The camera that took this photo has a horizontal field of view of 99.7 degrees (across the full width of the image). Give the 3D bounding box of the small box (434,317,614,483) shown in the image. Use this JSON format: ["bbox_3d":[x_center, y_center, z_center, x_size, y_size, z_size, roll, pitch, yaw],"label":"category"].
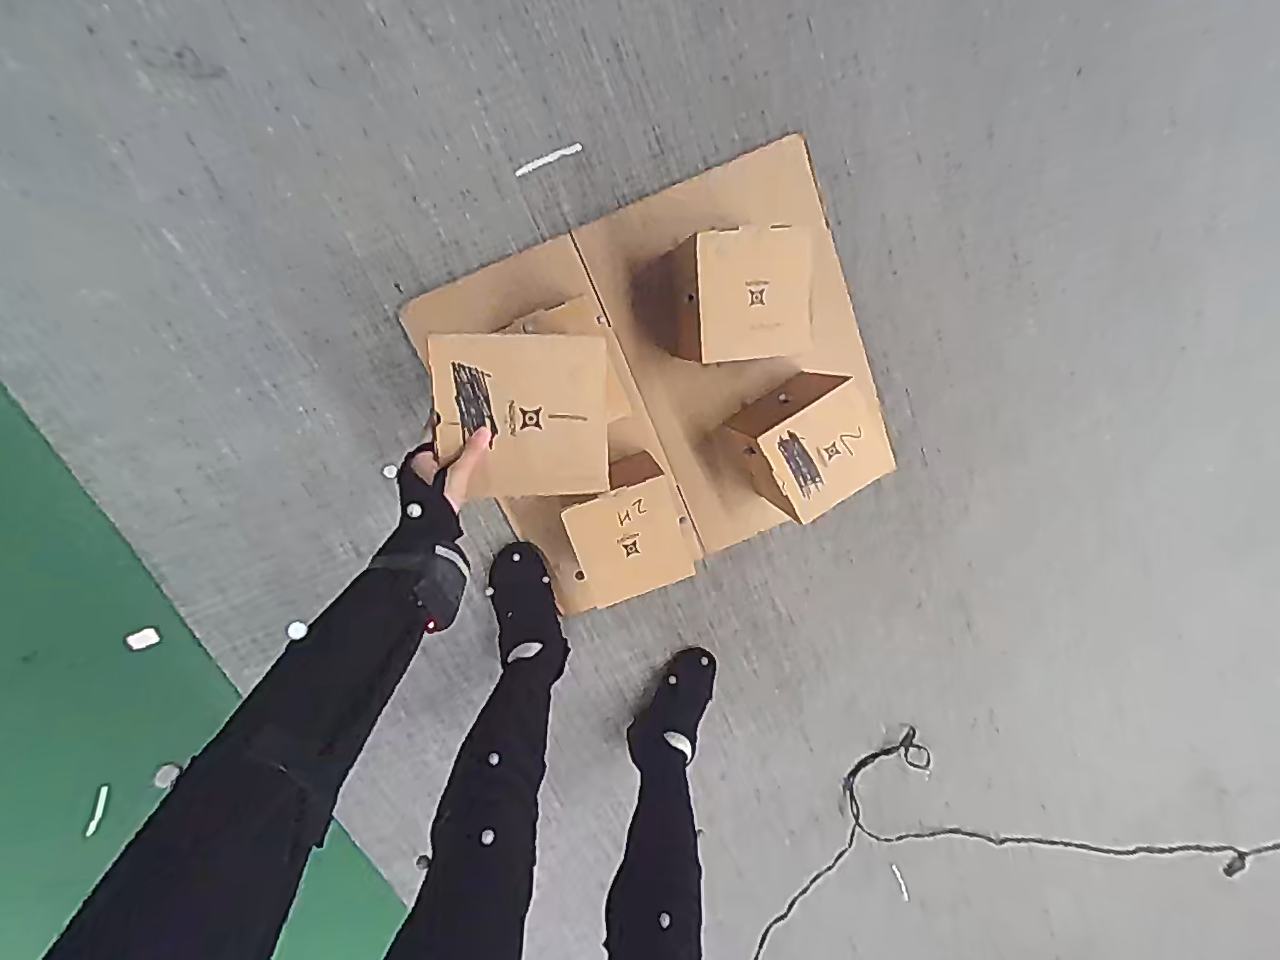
[{"bbox_3d":[-0.126,-0.093,0.623,0.179,0.176,0.168,-3,102,-11],"label":"small box"}]

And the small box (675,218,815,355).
[{"bbox_3d":[0.150,-0.284,0.821,0.168,0.176,0.179,-6,106,-7],"label":"small box"}]

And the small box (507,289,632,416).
[{"bbox_3d":[-0.125,-0.169,0.813,0.168,0.176,0.179,-23,106,-2],"label":"small box"}]

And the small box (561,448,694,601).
[{"bbox_3d":[-0.025,0.064,0.889,0.168,0.176,0.179,-19,106,-4],"label":"small box"}]
